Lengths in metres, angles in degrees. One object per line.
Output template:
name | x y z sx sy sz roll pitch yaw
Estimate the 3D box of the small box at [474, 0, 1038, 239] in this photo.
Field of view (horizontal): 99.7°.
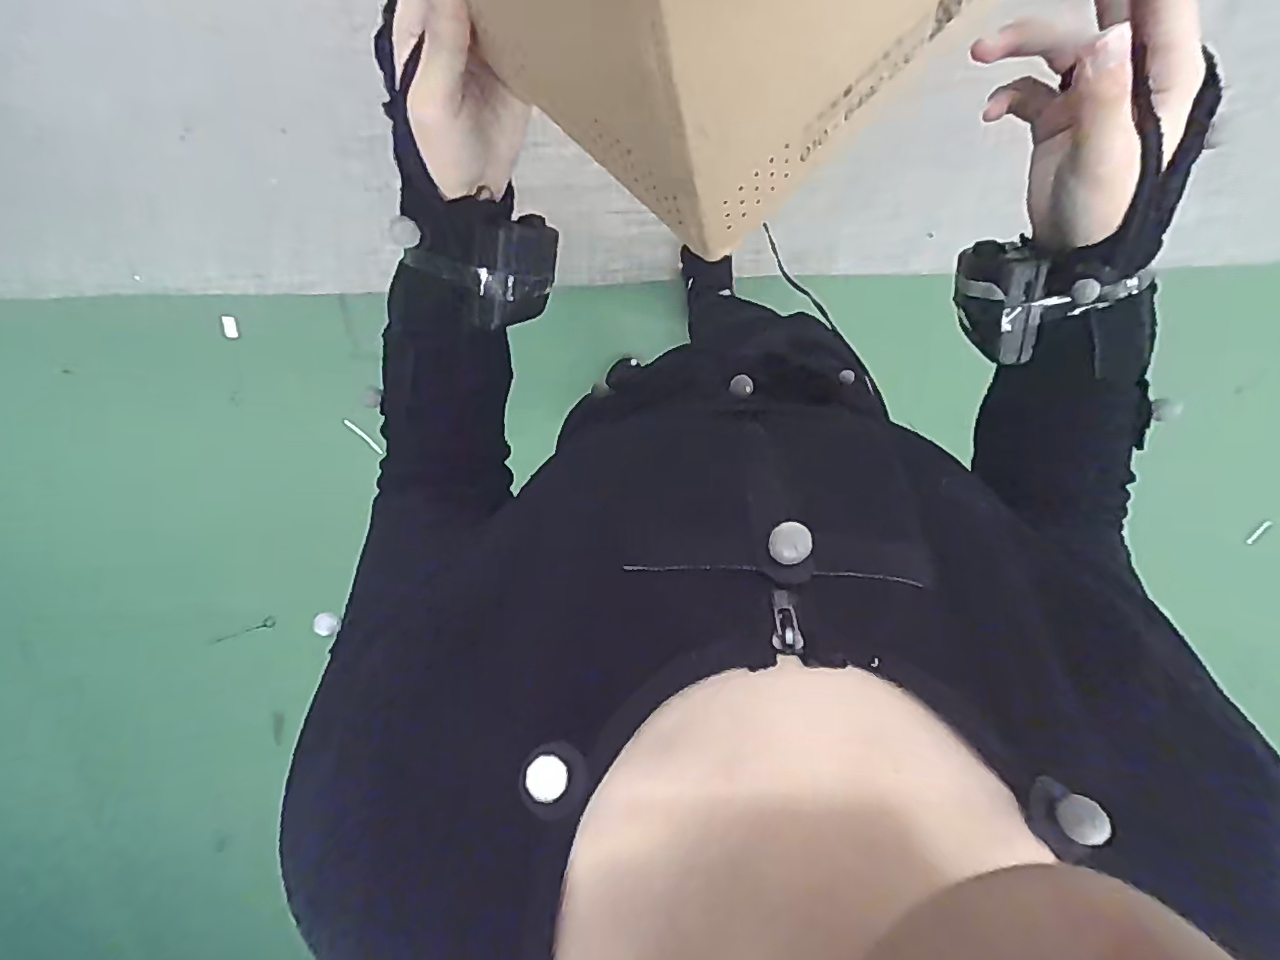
small box | 0.024 -0.209 0.148 0.168 0.176 0.179 -43 73 4
